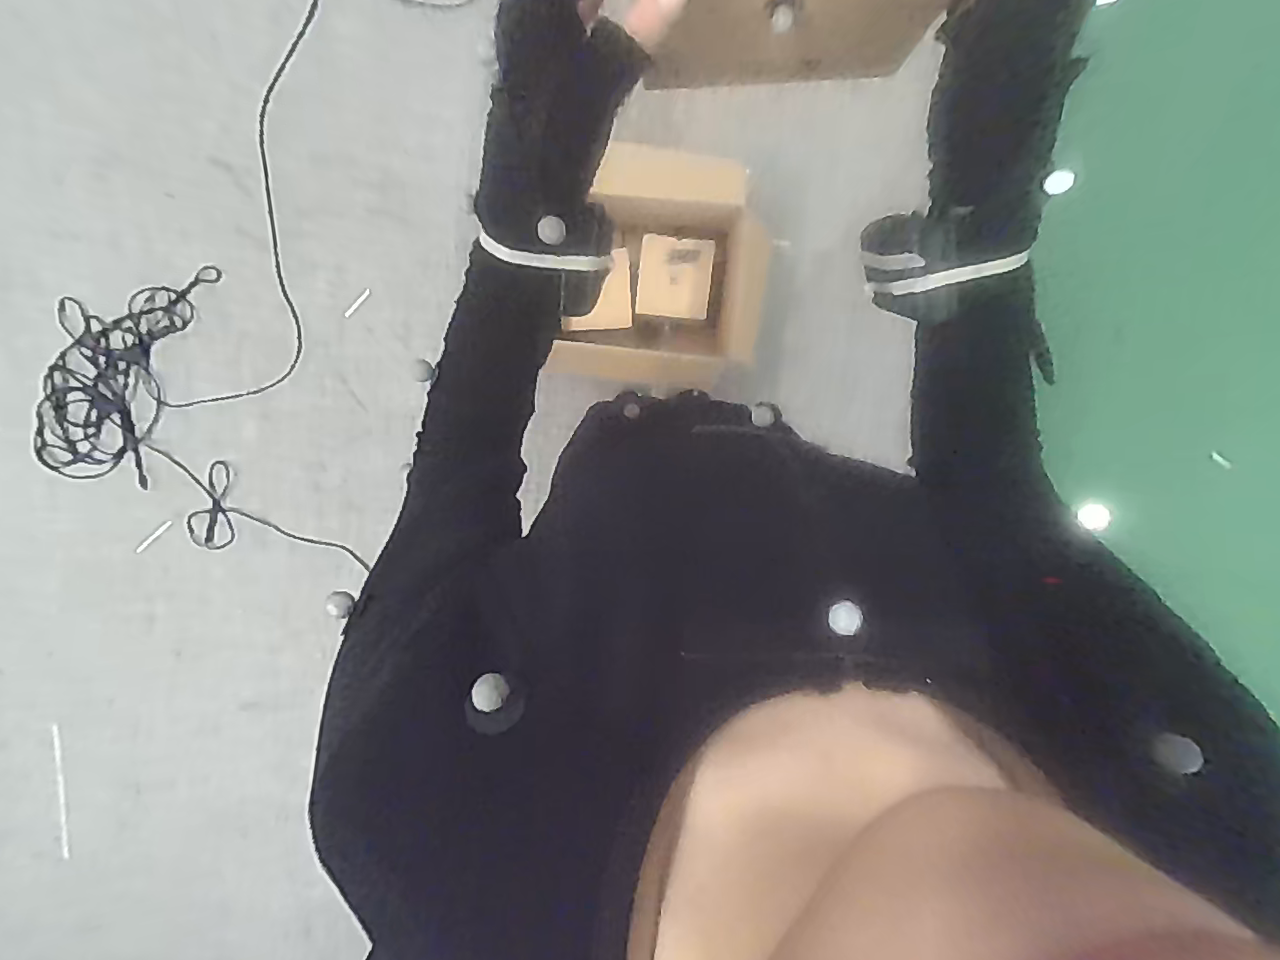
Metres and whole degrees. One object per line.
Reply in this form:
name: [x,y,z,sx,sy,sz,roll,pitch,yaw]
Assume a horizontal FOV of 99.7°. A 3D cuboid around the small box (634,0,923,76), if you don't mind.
small box: [0.076,-0.336,0.269,0.168,0.176,0.179,-1,99,2]
